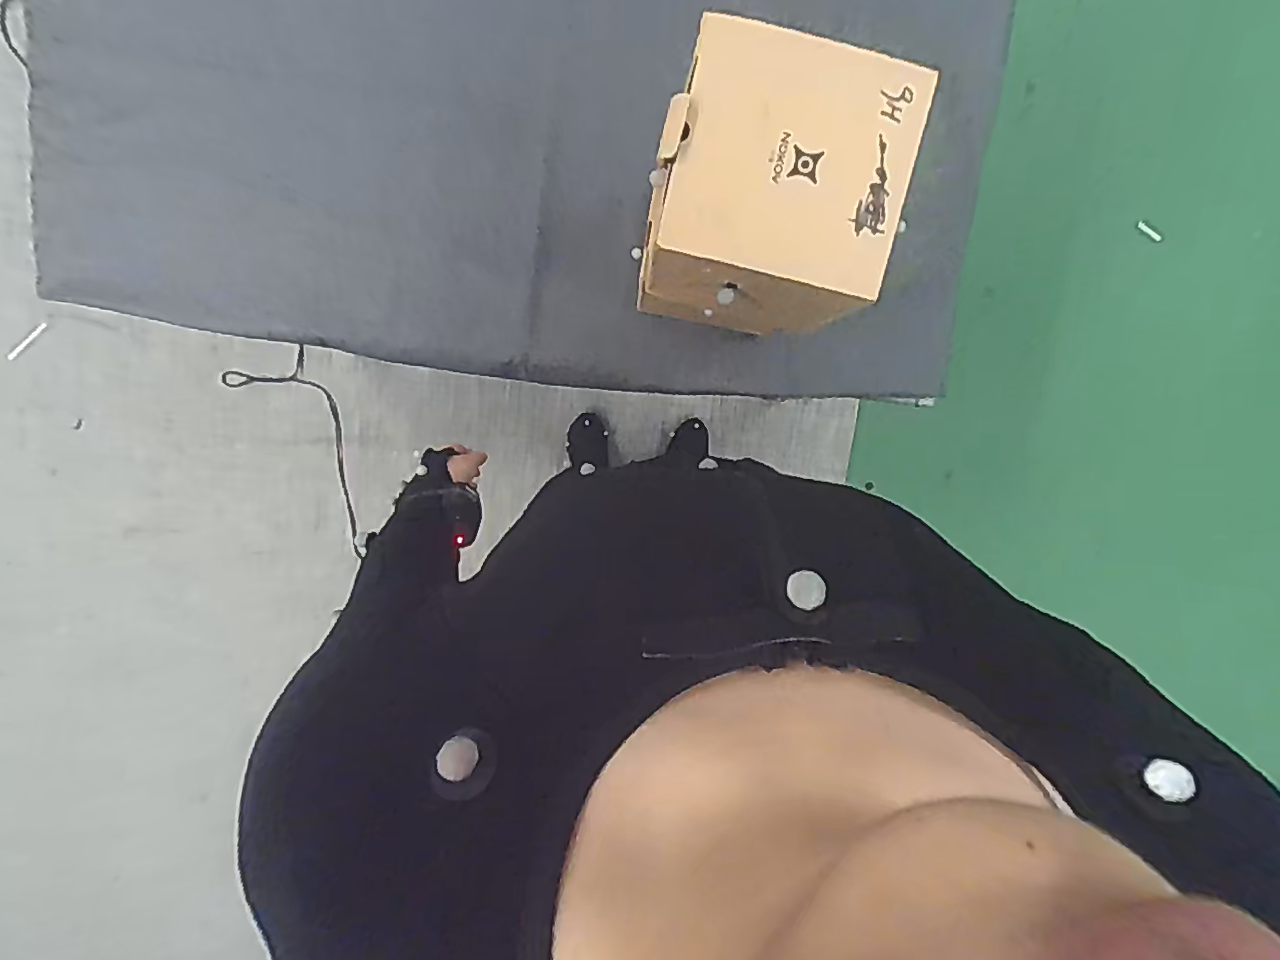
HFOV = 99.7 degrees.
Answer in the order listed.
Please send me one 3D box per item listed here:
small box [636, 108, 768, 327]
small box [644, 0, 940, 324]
[{"bbox_3d":[0.094,-0.280,0.618,0.179,0.176,0.168,10,98,-3],"label":"small box"},{"bbox_3d":[0.105,-0.241,0.458,0.179,0.176,0.168,13,97,-2],"label":"small box"}]
